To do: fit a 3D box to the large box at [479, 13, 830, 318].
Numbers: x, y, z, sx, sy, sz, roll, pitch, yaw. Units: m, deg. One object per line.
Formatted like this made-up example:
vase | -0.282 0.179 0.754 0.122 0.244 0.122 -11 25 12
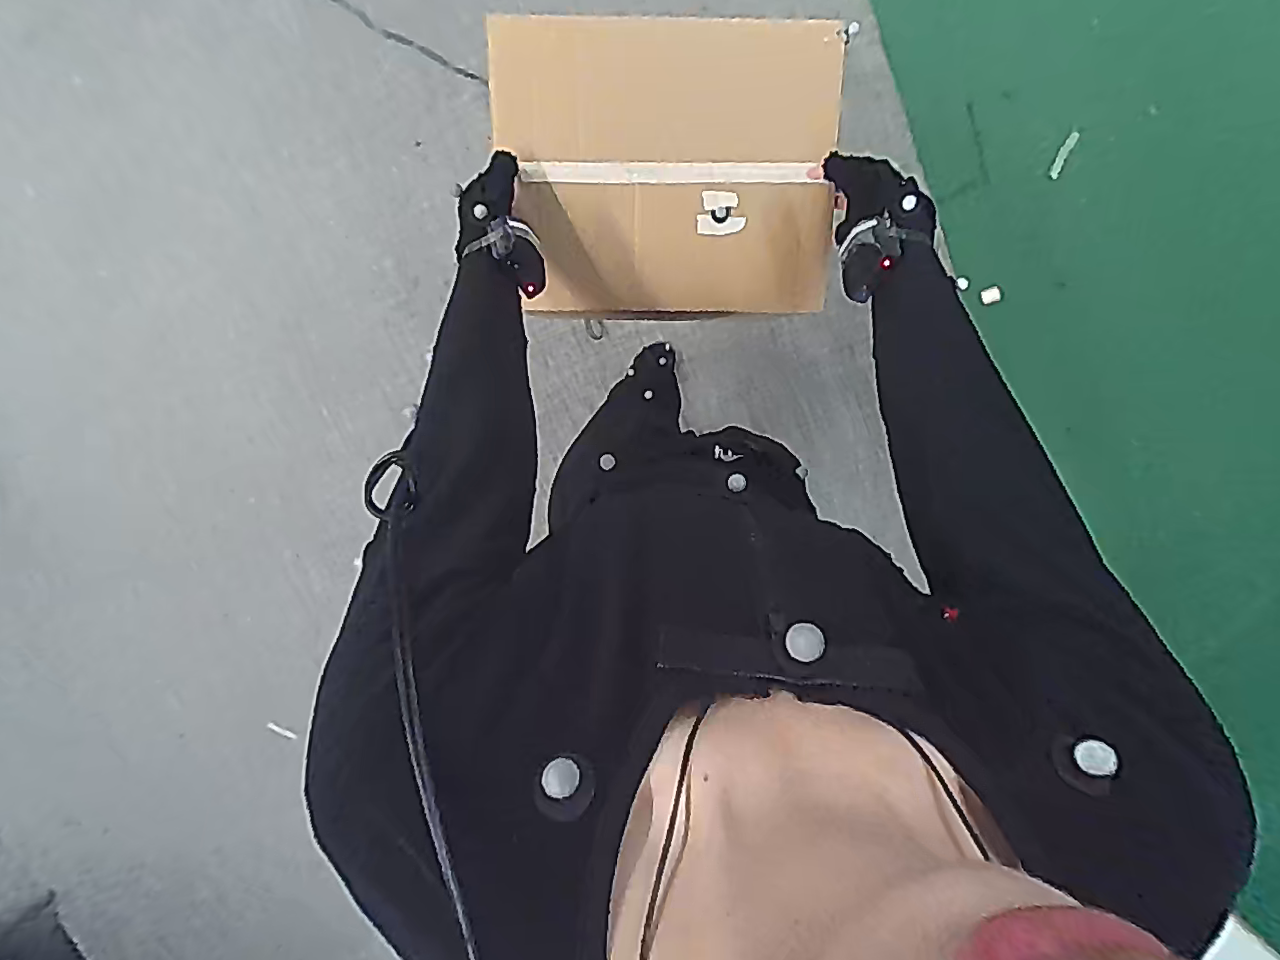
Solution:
large box | 0.015 -0.409 0.786 0.408 0.320 0.320 -2 105 -2
